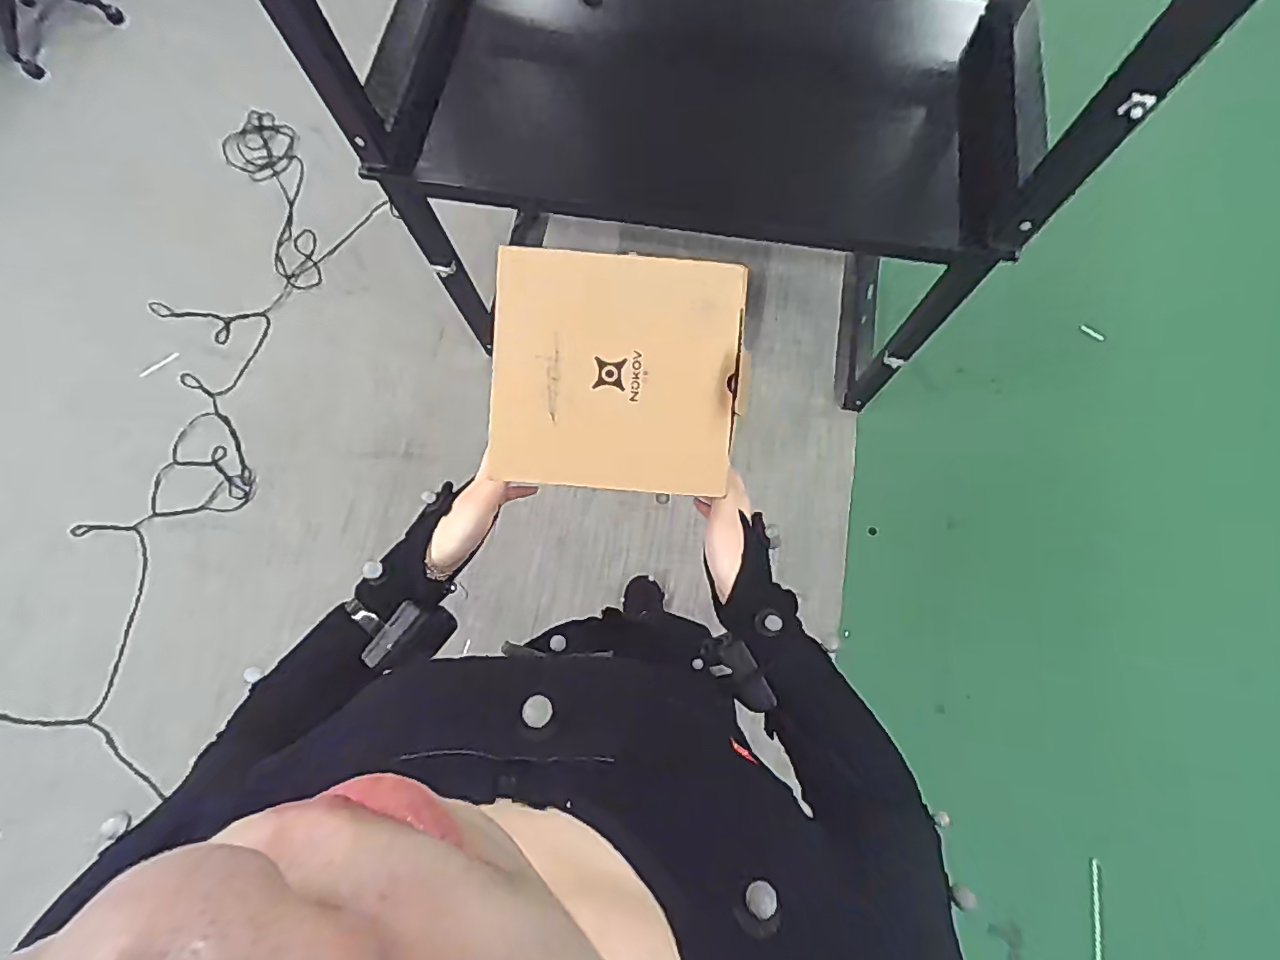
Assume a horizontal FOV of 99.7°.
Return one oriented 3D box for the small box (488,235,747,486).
[{"bbox_3d":[-0.016,-0.089,0.460,0.179,0.176,0.168,4,94,1],"label":"small box"}]
